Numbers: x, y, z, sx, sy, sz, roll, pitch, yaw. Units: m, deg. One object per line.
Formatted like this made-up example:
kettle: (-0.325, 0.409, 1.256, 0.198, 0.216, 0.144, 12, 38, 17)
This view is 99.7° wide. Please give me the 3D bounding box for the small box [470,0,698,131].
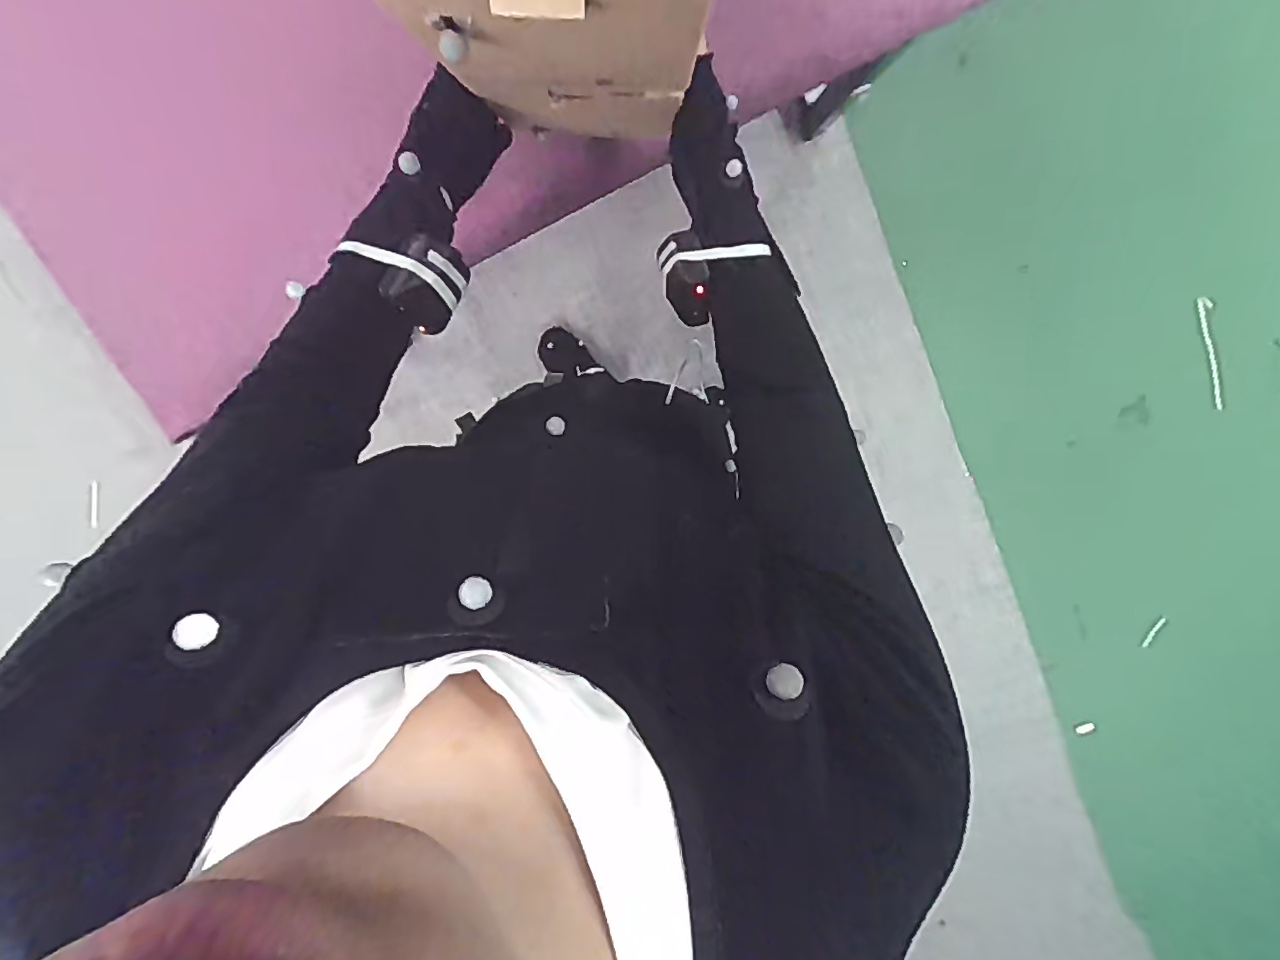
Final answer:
small box: (-0.036, -0.405, 0.443, 0.168, 0.176, 0.179, 3, 112, -1)
